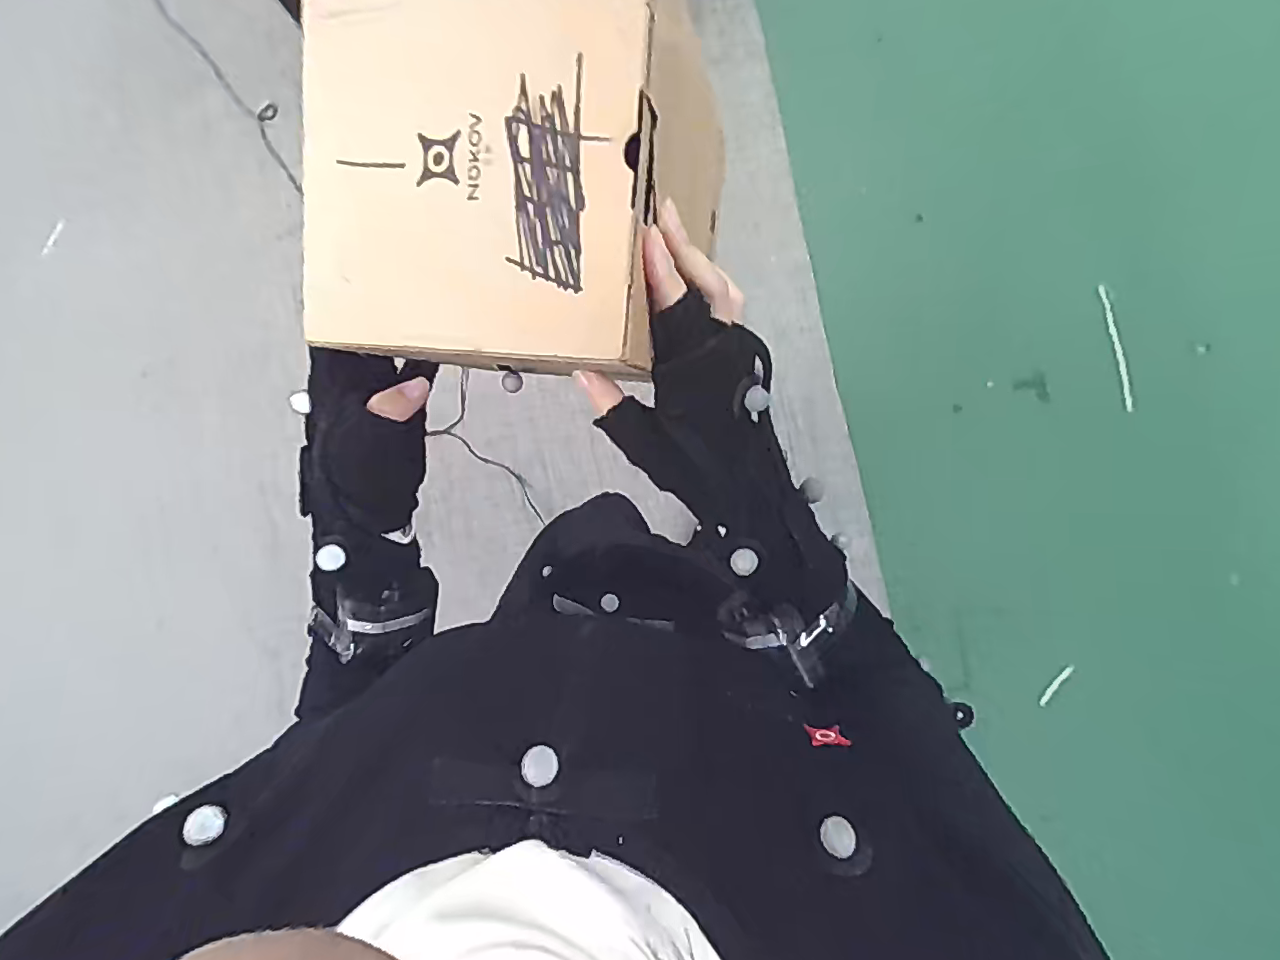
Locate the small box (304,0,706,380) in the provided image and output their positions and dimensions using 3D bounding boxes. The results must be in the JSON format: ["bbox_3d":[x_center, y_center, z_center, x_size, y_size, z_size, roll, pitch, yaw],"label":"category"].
[{"bbox_3d":[-0.058,-0.150,0.323,0.179,0.176,0.168,4,97,15],"label":"small box"}]
